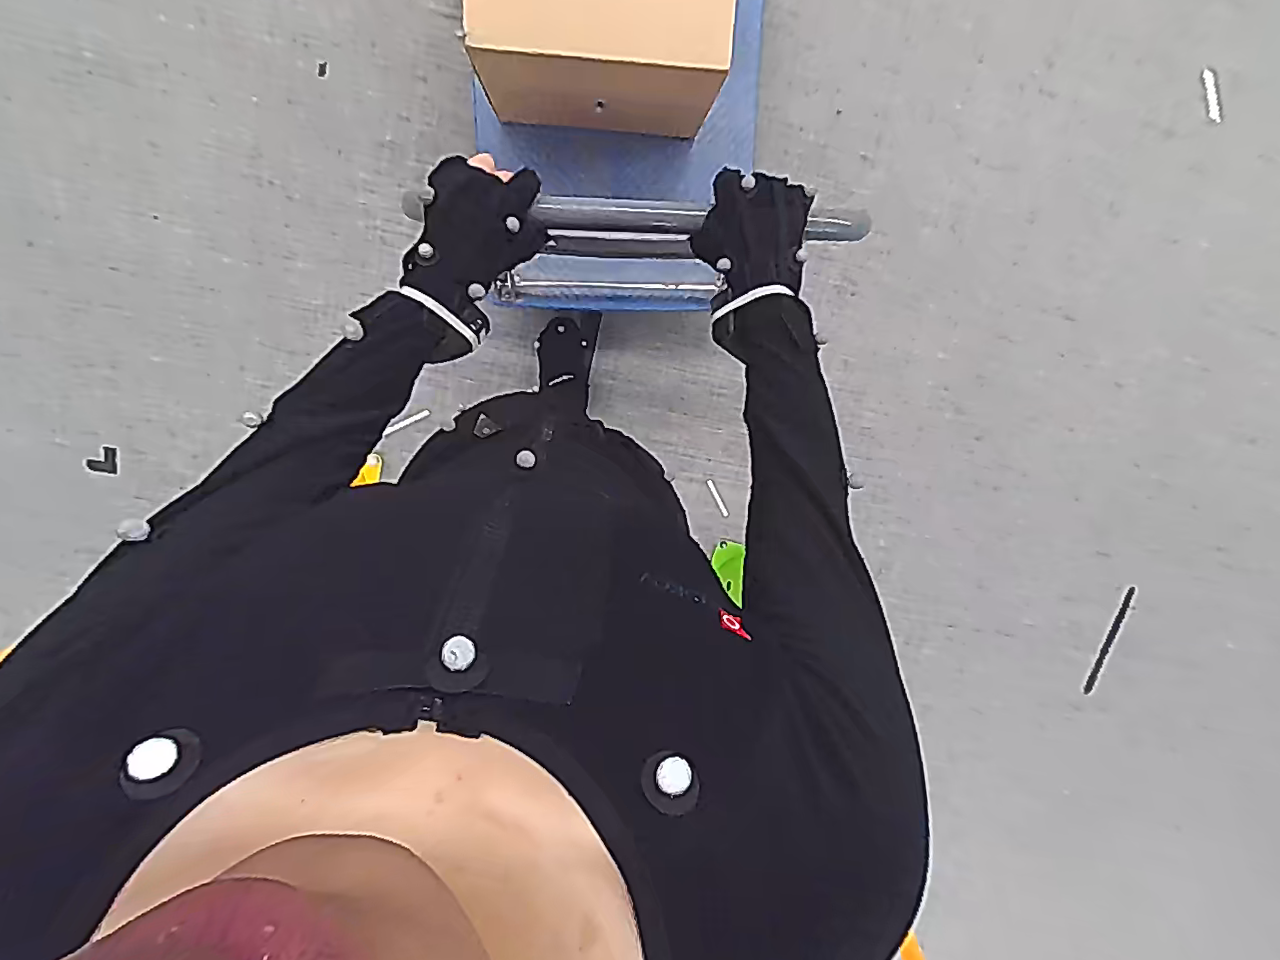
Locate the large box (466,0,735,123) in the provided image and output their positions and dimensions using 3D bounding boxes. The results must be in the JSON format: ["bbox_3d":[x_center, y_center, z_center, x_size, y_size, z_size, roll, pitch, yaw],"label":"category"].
[{"bbox_3d":[-0.061,-0.837,0.918,0.408,0.320,0.320,2,106,-4],"label":"large box"}]

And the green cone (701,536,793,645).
[{"bbox_3d":[0.311,0.318,1.416,0.202,0.368,0.200,15,104,-10],"label":"green cone"}]
